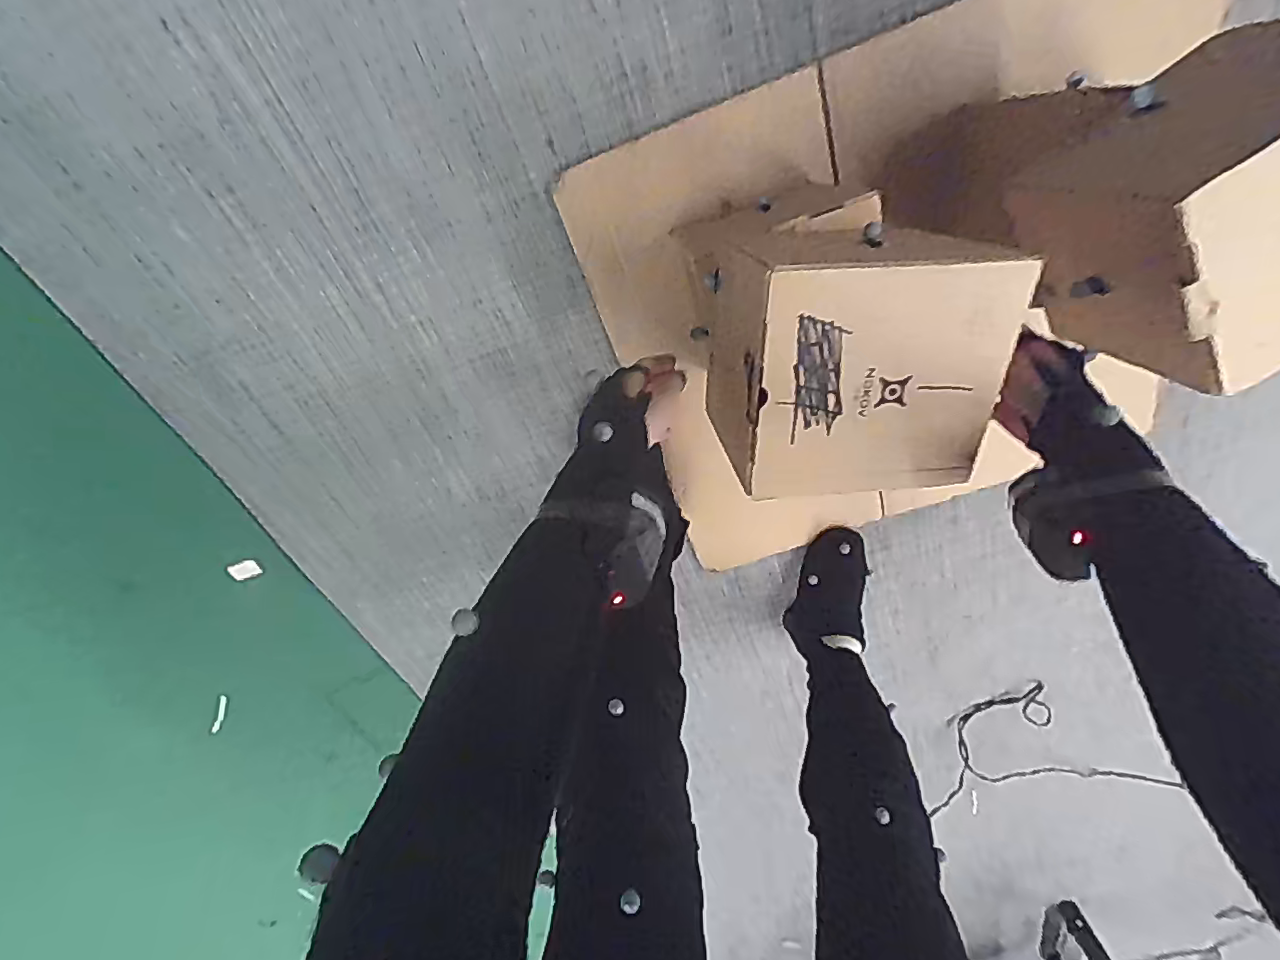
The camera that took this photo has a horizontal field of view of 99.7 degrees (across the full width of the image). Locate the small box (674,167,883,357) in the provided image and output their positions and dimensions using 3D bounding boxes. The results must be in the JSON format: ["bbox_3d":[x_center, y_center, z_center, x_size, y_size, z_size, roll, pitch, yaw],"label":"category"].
[{"bbox_3d":[0.143,-0.208,0.571,0.168,0.176,0.179,-18,122,6],"label":"small box"}]

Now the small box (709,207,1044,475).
[{"bbox_3d":[0.156,-0.119,0.435,0.179,0.176,0.168,-3,122,-4],"label":"small box"}]

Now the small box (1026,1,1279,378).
[{"bbox_3d":[0.427,-0.212,0.398,0.179,0.176,0.168,-34,119,17],"label":"small box"}]
